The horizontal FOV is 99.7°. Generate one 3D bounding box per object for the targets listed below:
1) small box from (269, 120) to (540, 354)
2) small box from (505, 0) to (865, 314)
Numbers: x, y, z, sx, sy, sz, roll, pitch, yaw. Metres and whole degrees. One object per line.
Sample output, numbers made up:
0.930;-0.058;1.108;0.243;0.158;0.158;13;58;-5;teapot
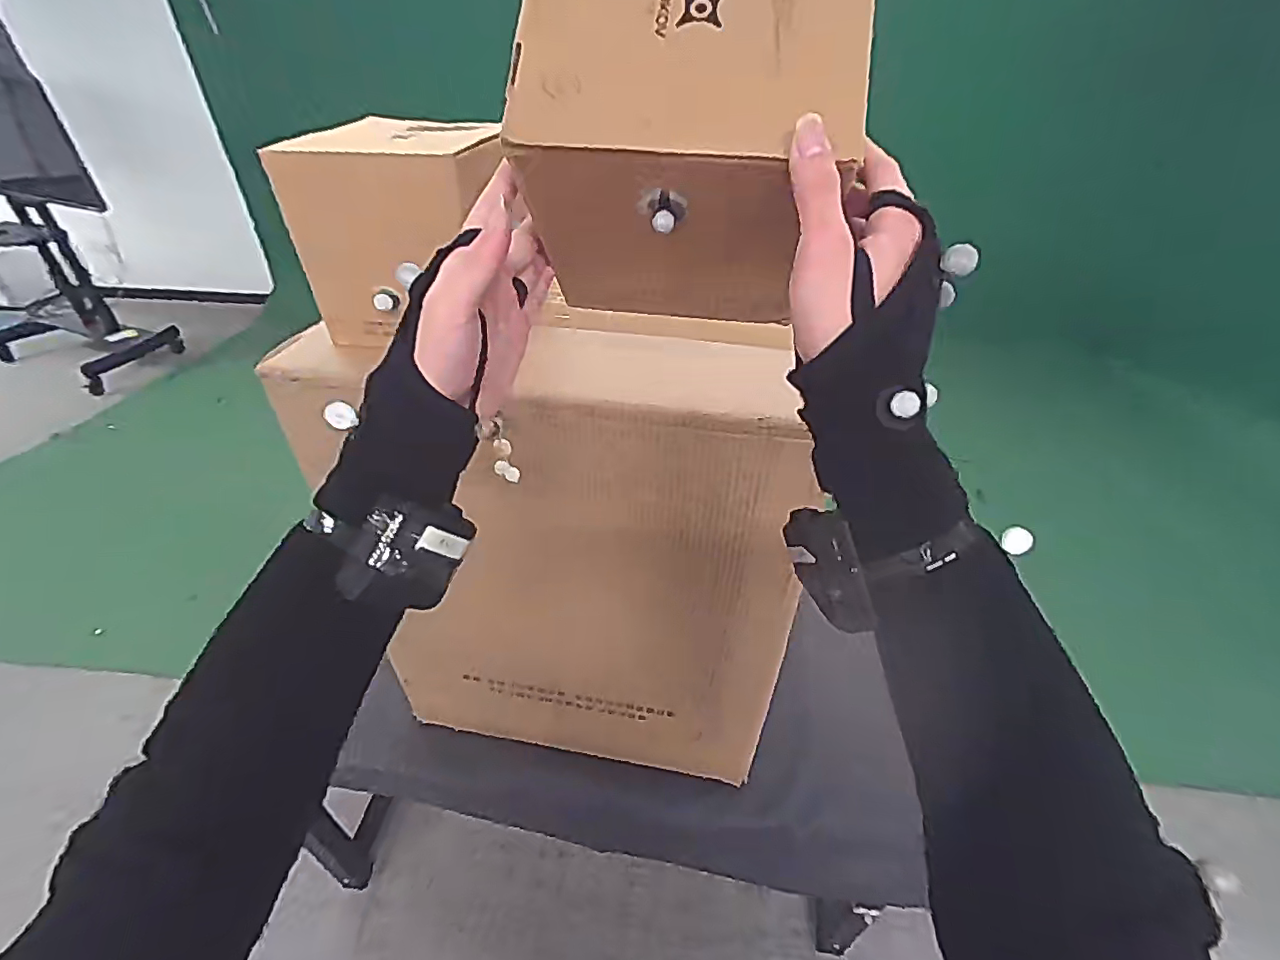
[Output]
-0.204;-0.244;0.535;0.168;0.176;0.179;6;40;8;small box
0.033;-0.227;0.358;0.179;0.176;0.168;7;80;5;small box
